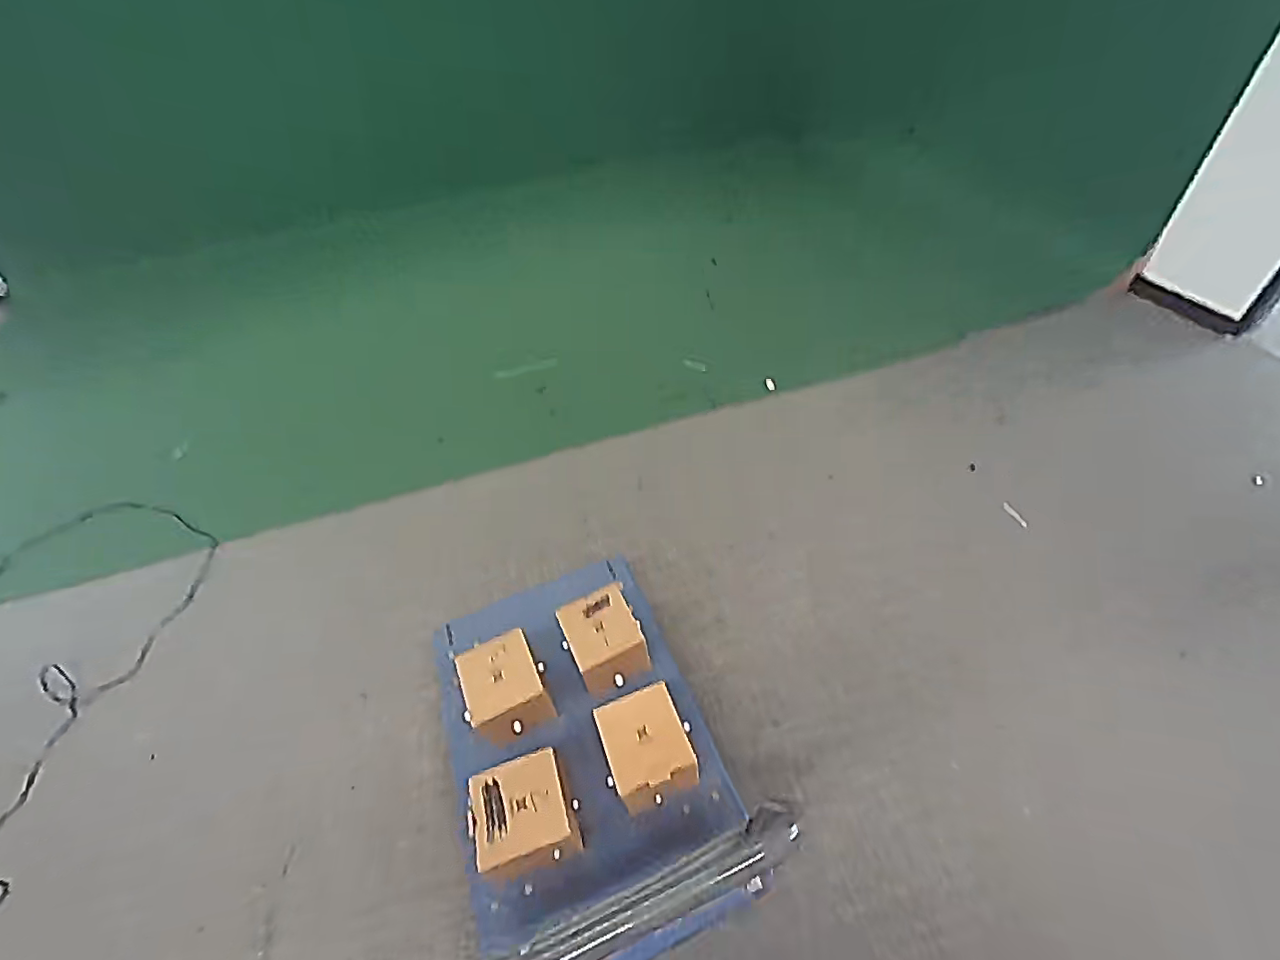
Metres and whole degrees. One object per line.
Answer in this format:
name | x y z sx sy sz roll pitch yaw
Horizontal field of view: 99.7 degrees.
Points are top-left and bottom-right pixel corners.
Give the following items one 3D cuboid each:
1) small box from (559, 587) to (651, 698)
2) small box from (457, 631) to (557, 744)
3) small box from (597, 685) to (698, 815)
small box | -0.085 0.404 1.340 0.168 0.176 0.179 -23 50 -13
small box | -0.310 0.499 1.281 0.168 0.176 0.179 -22 49 -14
small box | 0.016 0.582 1.164 0.168 0.176 0.179 -19 48 -10
